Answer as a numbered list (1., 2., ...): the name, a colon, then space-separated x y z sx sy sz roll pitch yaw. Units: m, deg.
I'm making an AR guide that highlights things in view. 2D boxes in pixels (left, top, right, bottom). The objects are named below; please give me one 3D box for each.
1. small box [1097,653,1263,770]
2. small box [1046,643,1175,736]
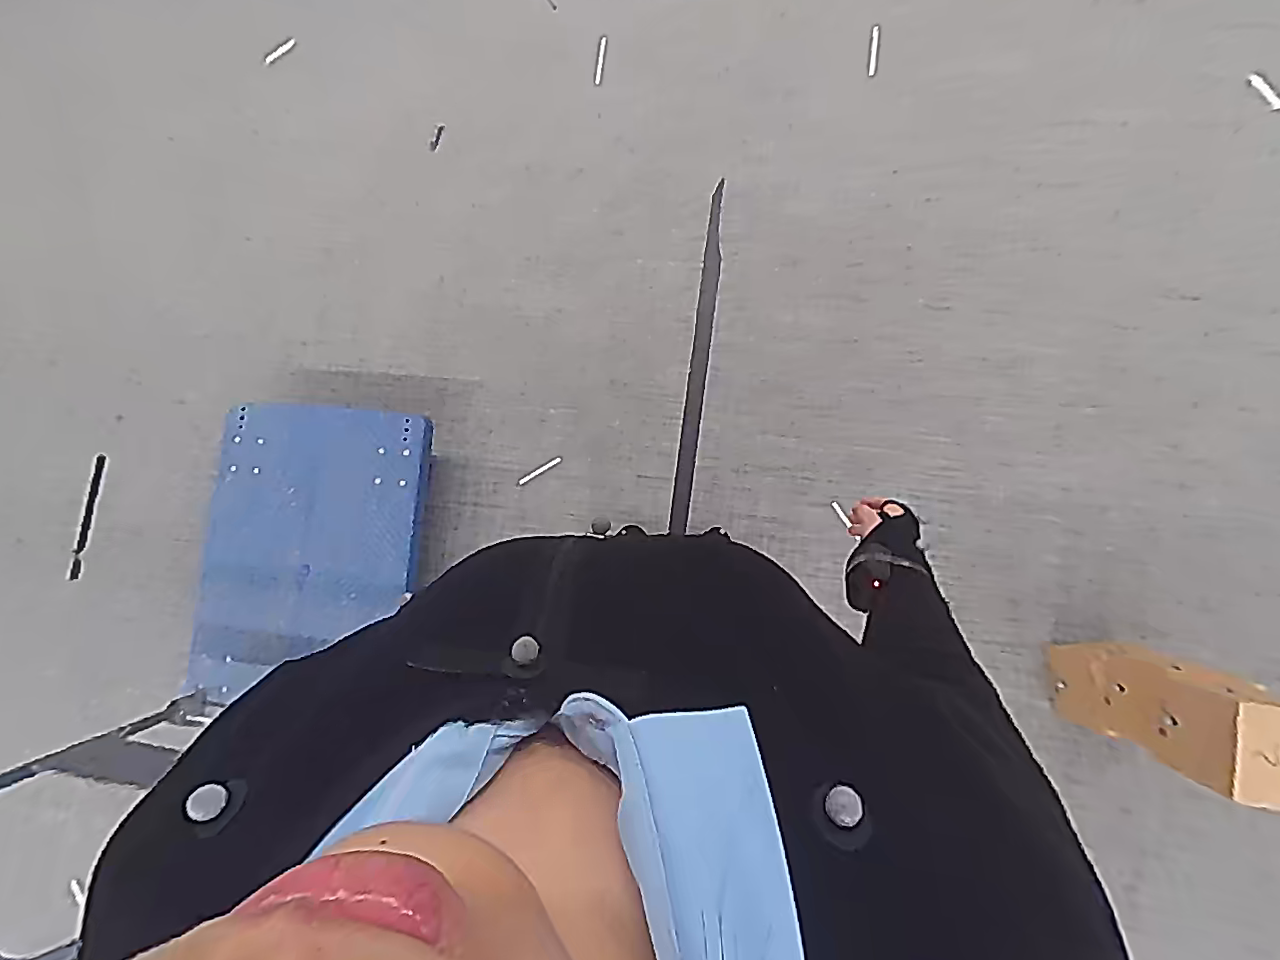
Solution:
1. small box: 1.105 0.467 1.118 0.179 0.176 0.168 7 85 7
2. small box: 1.114 0.488 1.279 0.179 0.176 0.168 -5 84 6
